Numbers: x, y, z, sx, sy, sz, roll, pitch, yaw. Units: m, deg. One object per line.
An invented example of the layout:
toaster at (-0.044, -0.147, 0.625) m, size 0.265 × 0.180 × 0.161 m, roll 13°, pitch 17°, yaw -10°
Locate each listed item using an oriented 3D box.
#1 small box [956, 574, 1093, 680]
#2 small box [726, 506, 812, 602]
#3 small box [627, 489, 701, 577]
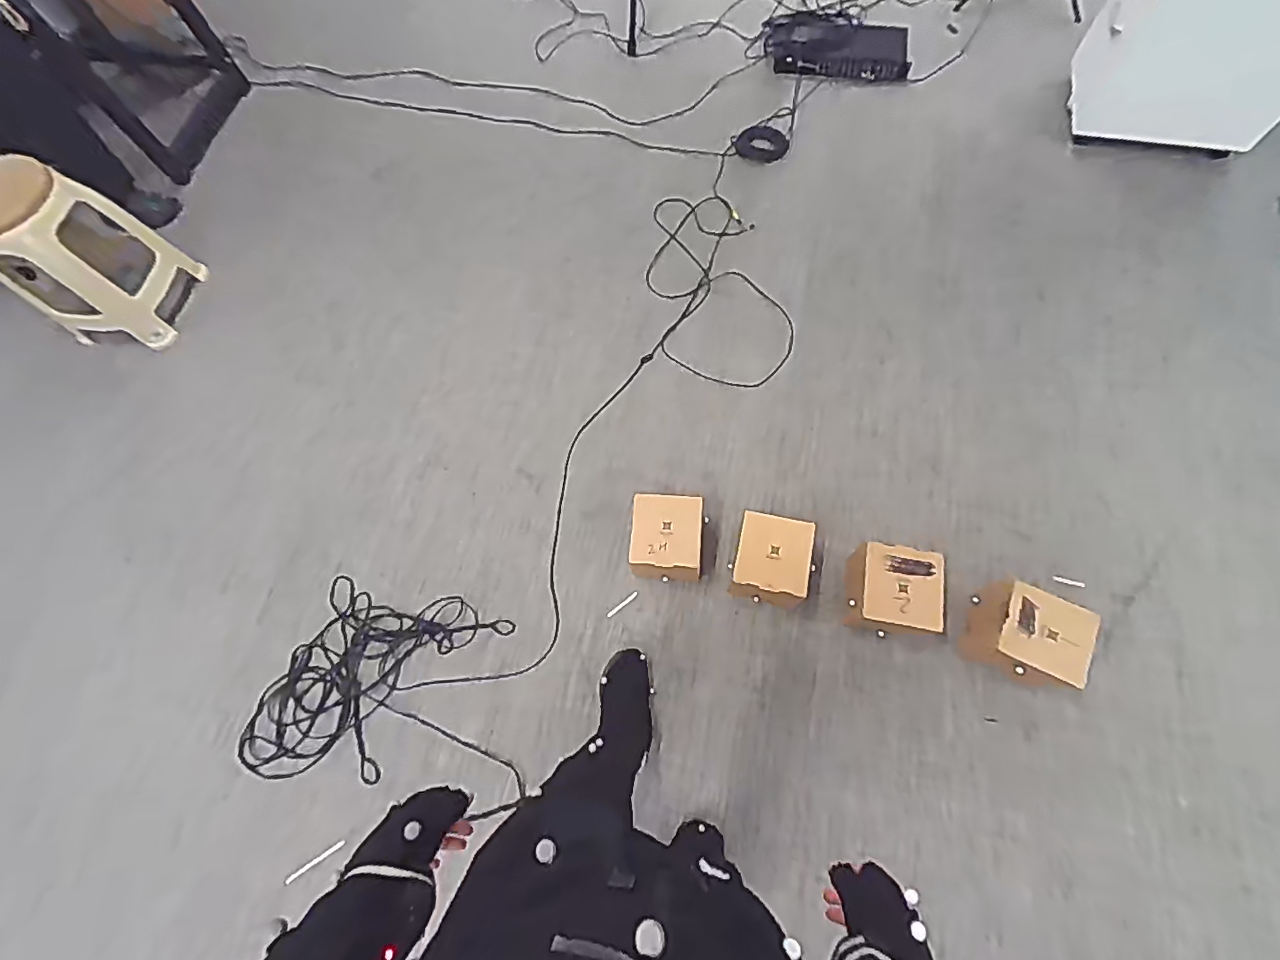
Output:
small box at (0.849, 0.335, 1.210) m, size 0.179 × 0.176 × 0.168 m, roll 25°, pitch 73°, yaw 12°
small box at (0.308, 0.184, 1.313) m, size 0.168 × 0.176 × 0.179 m, roll 11°, pitch 71°, yaw 9°
small box at (0.063, 0.135, 1.349) m, size 0.168 × 0.176 × 0.179 m, roll 3°, pitch 69°, yaw 7°
